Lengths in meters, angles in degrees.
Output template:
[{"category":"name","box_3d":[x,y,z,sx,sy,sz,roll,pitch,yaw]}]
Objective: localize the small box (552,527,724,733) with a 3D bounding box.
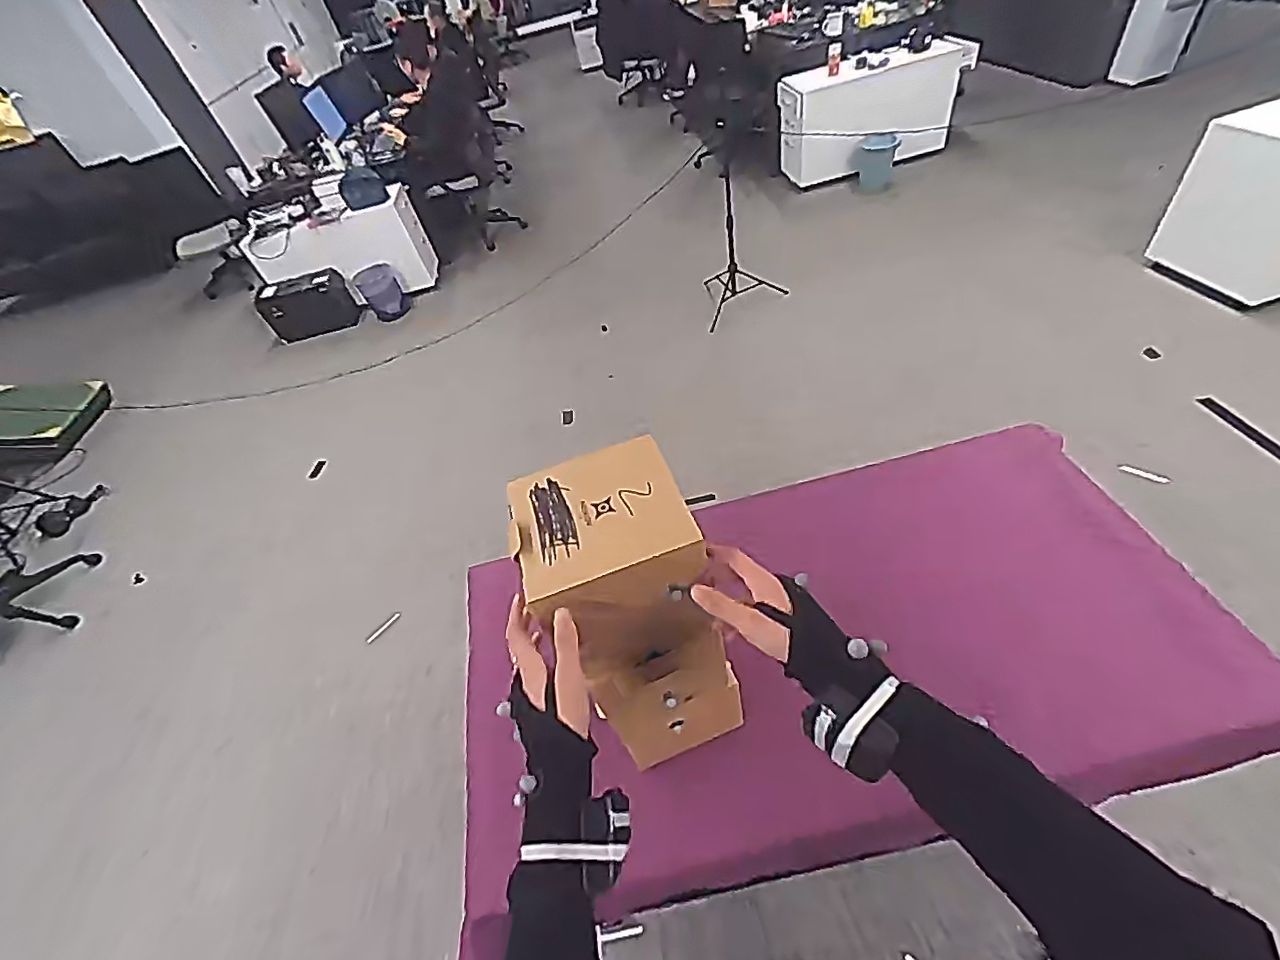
[{"category":"small box","box_3d":[0.000,0.201,0.723,0.168,0.176,0.179,-23,47,-6]}]

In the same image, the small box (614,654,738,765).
[{"category":"small box","box_3d":[0.040,0.311,0.839,0.179,0.176,0.168,-21,47,-6]}]
